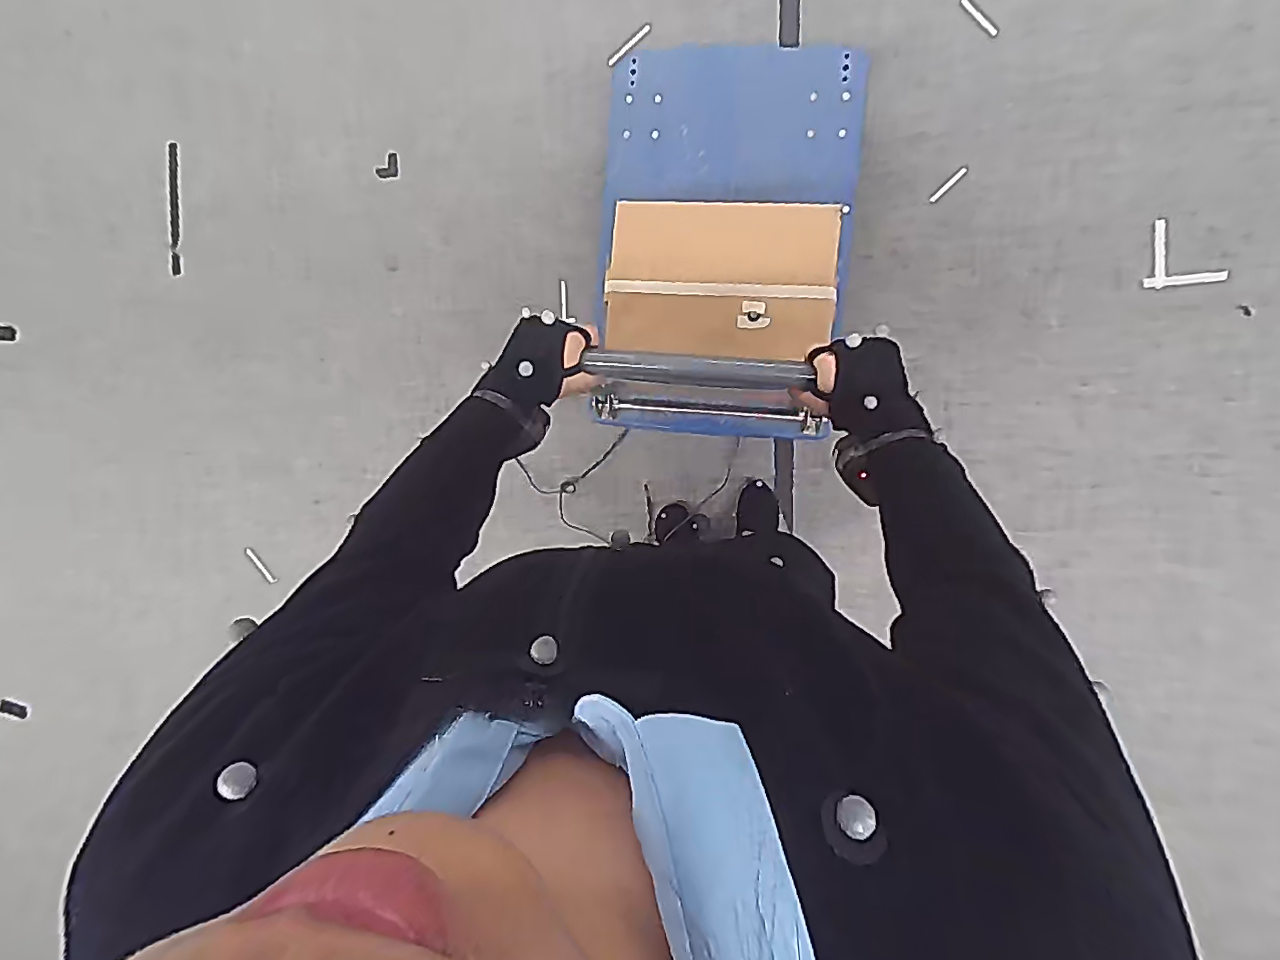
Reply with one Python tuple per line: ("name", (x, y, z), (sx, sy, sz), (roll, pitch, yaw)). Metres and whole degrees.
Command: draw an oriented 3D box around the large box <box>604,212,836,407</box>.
("large box", (0.155, -0.330, 1.120), (0.408, 0.320, 0.320), (5, 93, 7))
